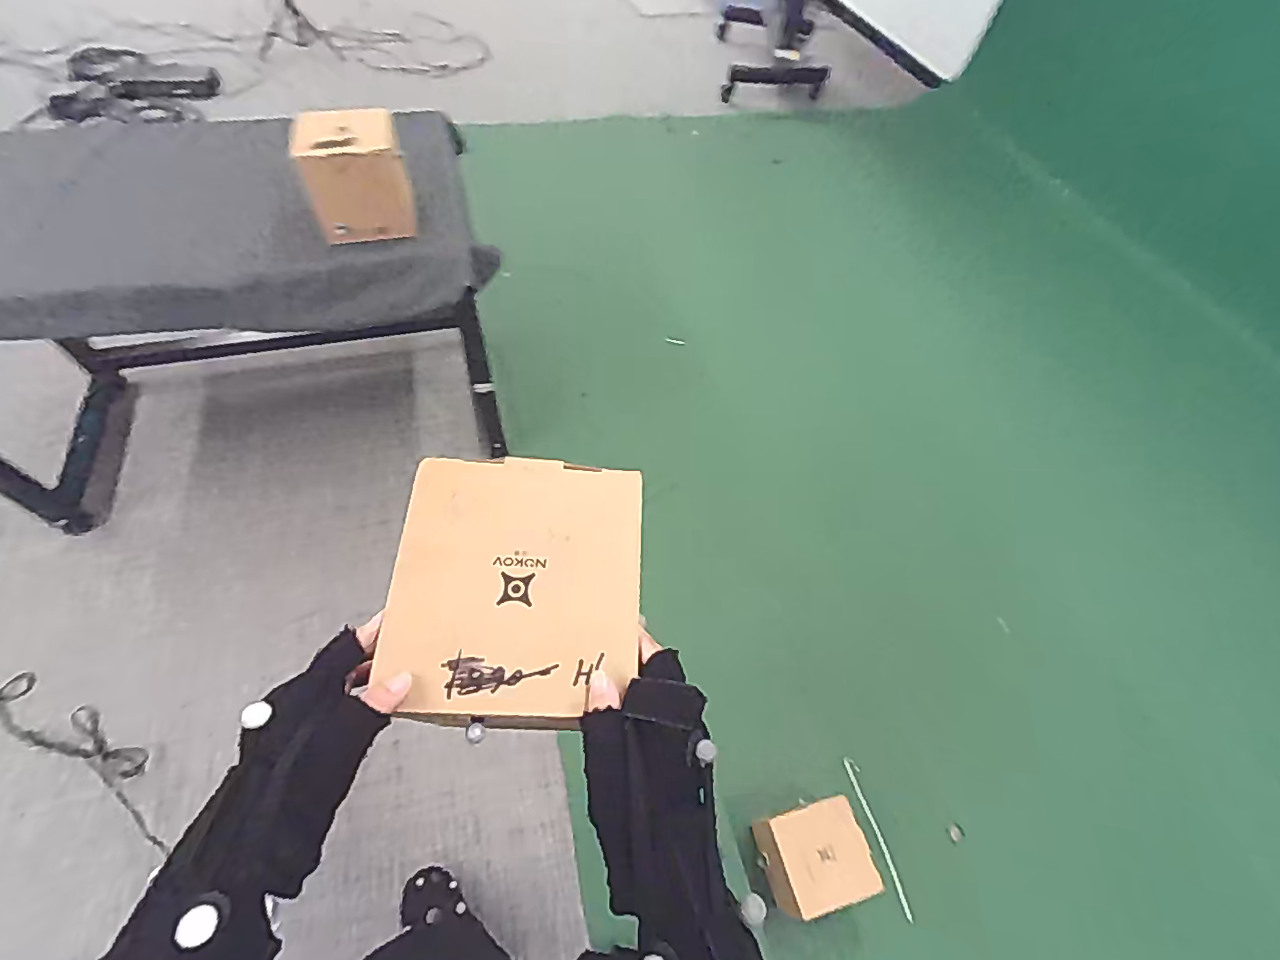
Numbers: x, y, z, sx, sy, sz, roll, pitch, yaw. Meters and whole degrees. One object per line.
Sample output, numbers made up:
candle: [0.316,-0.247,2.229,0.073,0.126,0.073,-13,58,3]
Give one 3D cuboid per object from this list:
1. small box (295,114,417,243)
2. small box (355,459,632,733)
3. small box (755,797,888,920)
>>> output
small box: [-0.546,-0.585,1.062,0.168,0.176,0.179,-11,56,-12]
small box: [-0.097,0.102,0.435,0.168,0.176,0.179,3,63,-5]
small box: [0.357,0.762,1.099,0.179,0.176,0.168,-9,55,-11]
